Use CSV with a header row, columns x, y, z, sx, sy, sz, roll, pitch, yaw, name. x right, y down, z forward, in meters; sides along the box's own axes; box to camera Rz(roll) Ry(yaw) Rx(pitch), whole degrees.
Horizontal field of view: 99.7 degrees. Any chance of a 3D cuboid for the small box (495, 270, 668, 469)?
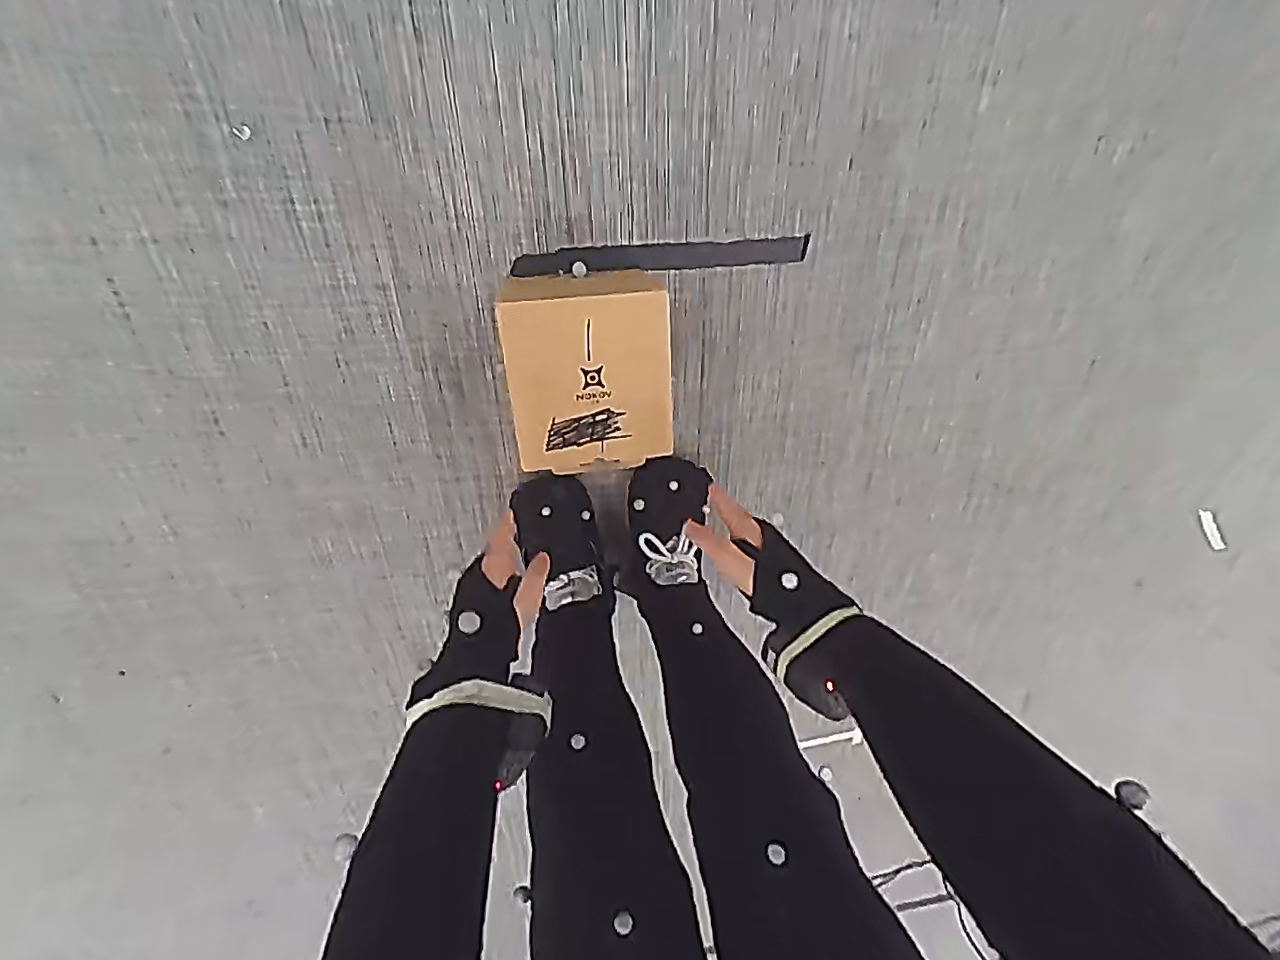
x,y,z,sx,sy,sz,roll,pitch,yaw,name
-0.065,-0.133,0.617,0.168,0.176,0.179,-7,118,-8,small box
